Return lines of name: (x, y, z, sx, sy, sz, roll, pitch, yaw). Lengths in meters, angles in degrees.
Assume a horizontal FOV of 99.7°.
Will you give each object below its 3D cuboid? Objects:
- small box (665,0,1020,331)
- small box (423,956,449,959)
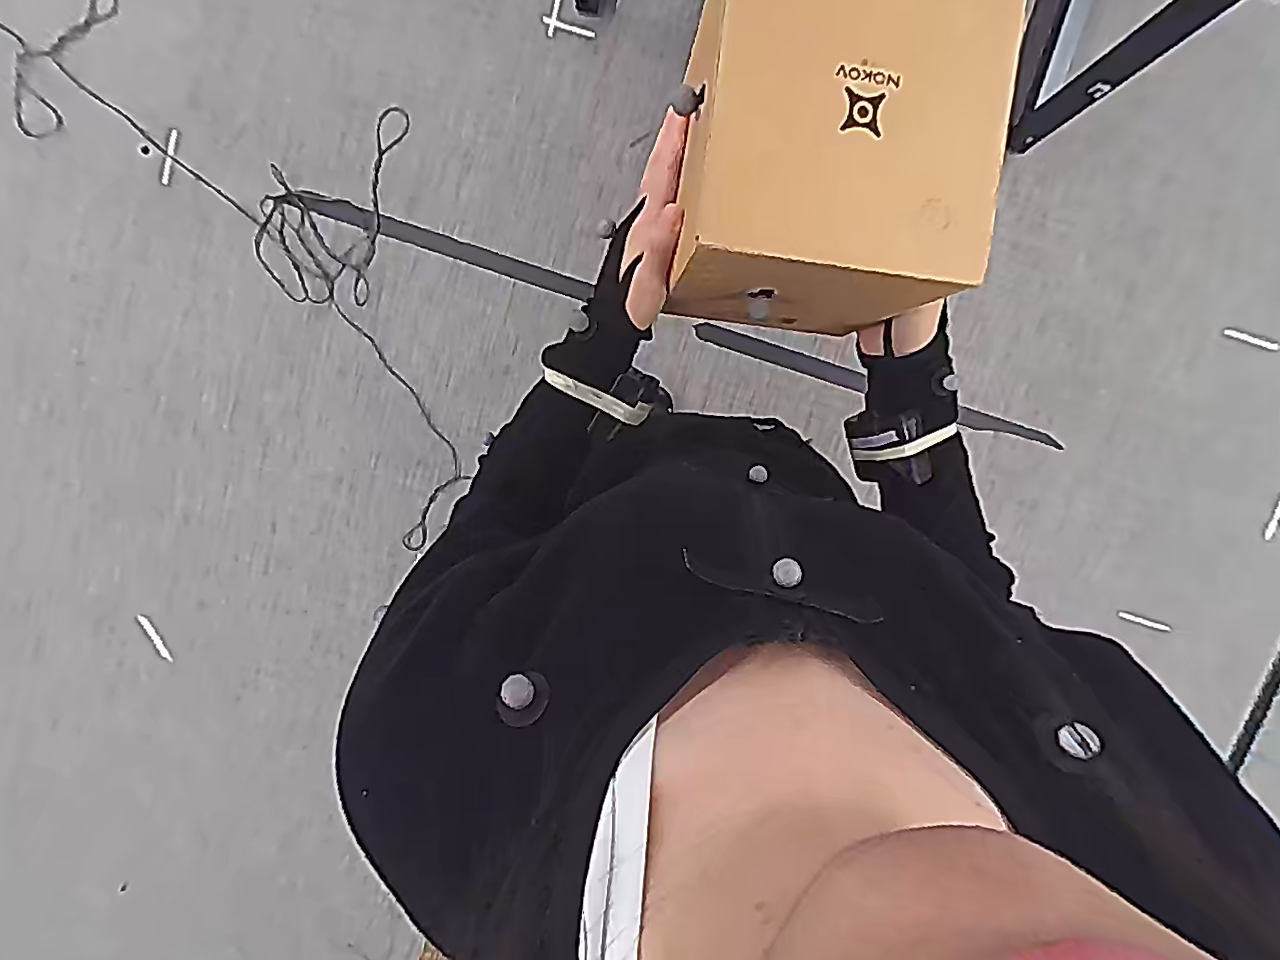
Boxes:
small box: (0.113, -0.211, 0.375, 0.168, 0.176, 0.179, 5, 93, -6)
small box: (-0.332, 0.965, 0.914, 0.168, 0.176, 0.179, 9, 97, 1)
